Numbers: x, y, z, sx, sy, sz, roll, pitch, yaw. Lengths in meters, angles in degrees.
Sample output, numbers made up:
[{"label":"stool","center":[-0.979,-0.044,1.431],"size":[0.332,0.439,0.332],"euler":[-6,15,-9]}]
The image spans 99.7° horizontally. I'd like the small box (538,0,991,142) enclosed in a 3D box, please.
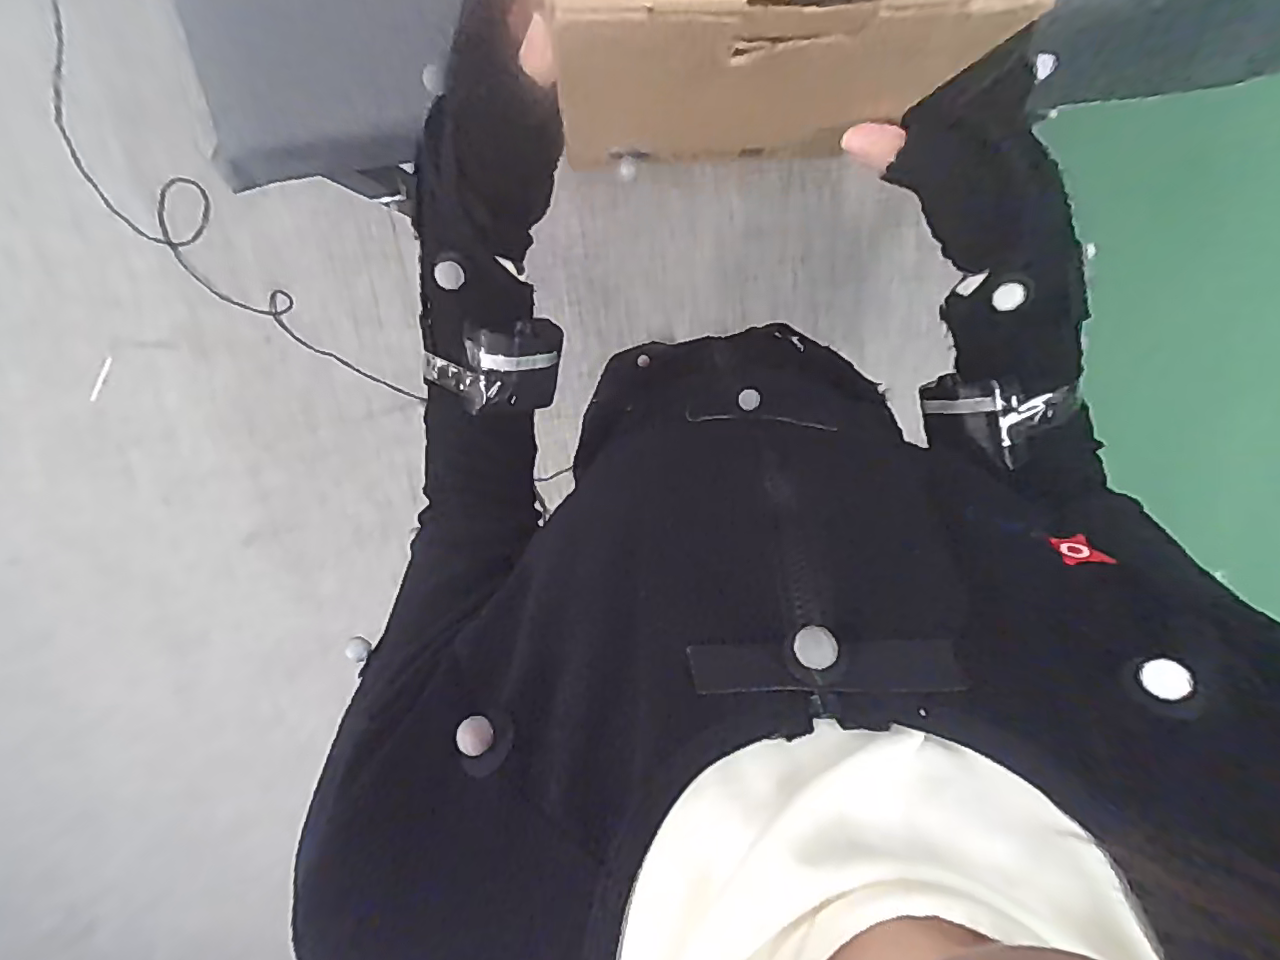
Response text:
[{"label":"small box","center":[0.038,-0.260,0.224],"size":[0.168,0.176,0.179],"euler":[-5,106,-4]}]
